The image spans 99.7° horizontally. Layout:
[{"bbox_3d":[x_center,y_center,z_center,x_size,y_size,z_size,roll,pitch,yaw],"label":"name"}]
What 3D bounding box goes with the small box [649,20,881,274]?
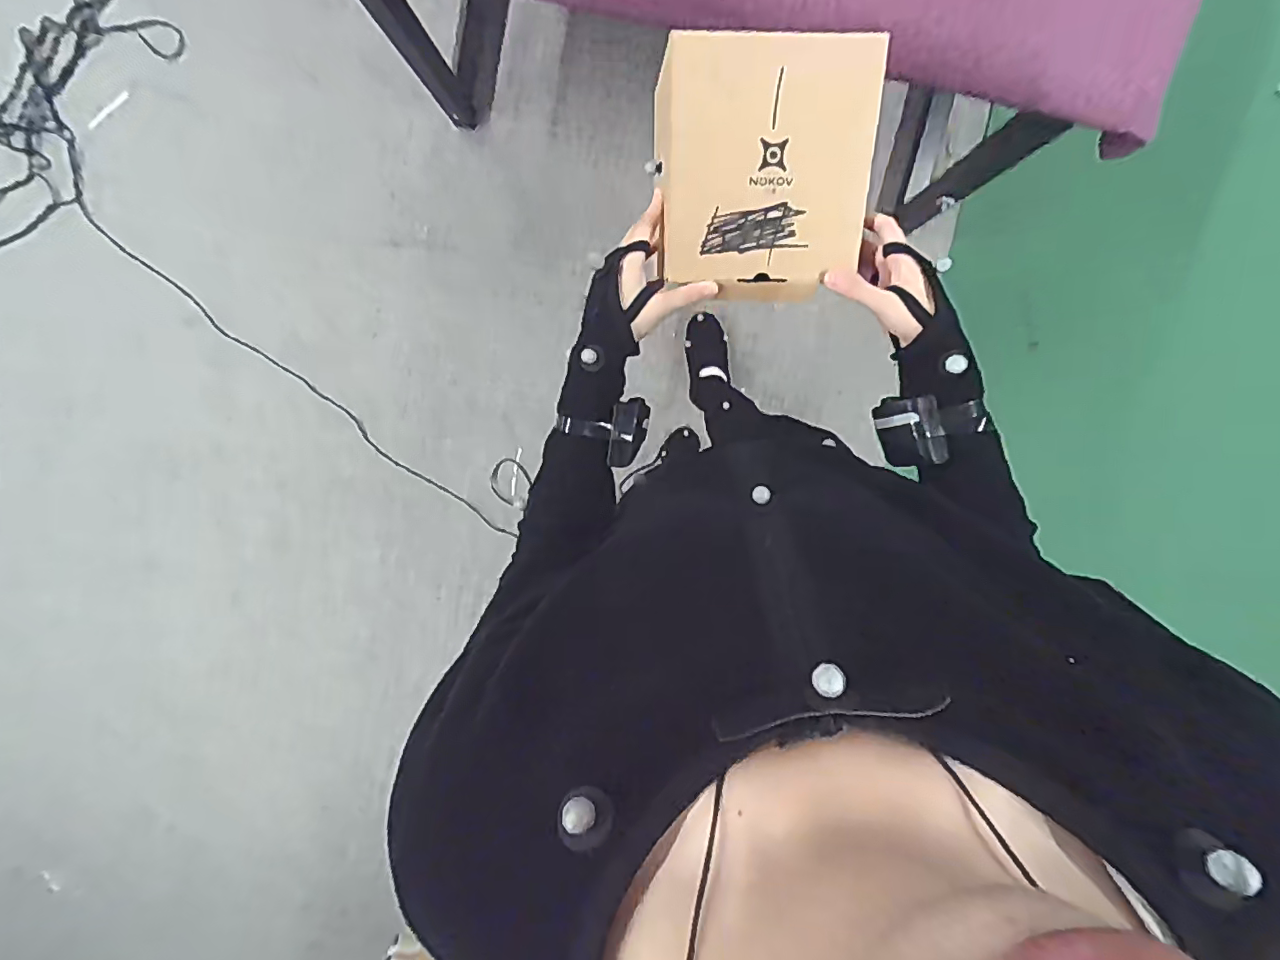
[{"bbox_3d":[0.096,-0.290,0.506,0.168,0.176,0.179,-1,113,-2],"label":"small box"}]
